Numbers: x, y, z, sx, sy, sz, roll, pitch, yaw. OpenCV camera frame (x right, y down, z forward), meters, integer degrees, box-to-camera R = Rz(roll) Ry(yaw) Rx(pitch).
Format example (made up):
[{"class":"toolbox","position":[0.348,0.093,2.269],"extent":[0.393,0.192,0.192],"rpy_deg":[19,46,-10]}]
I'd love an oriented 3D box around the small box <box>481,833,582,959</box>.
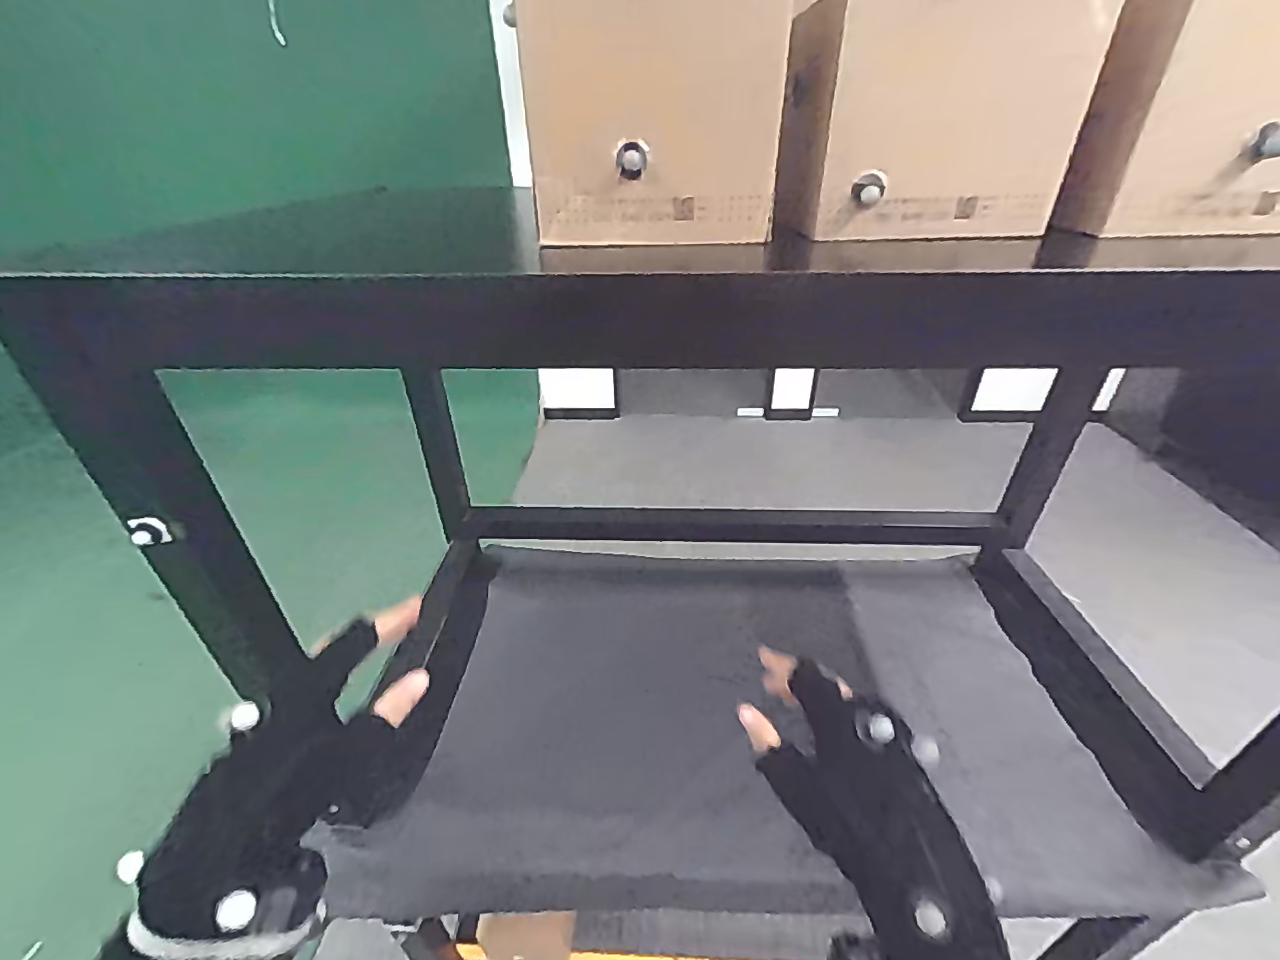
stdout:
[{"class":"small box","position":[-0.217,0.876,1.132],"extent":[0.168,0.176,0.179],"rpy_deg":[0,35,3]}]

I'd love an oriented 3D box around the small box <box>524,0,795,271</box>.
[{"class":"small box","position":[0.012,-0.272,0.425],"extent":[0.168,0.176,0.179],"rpy_deg":[0,33,1]}]
